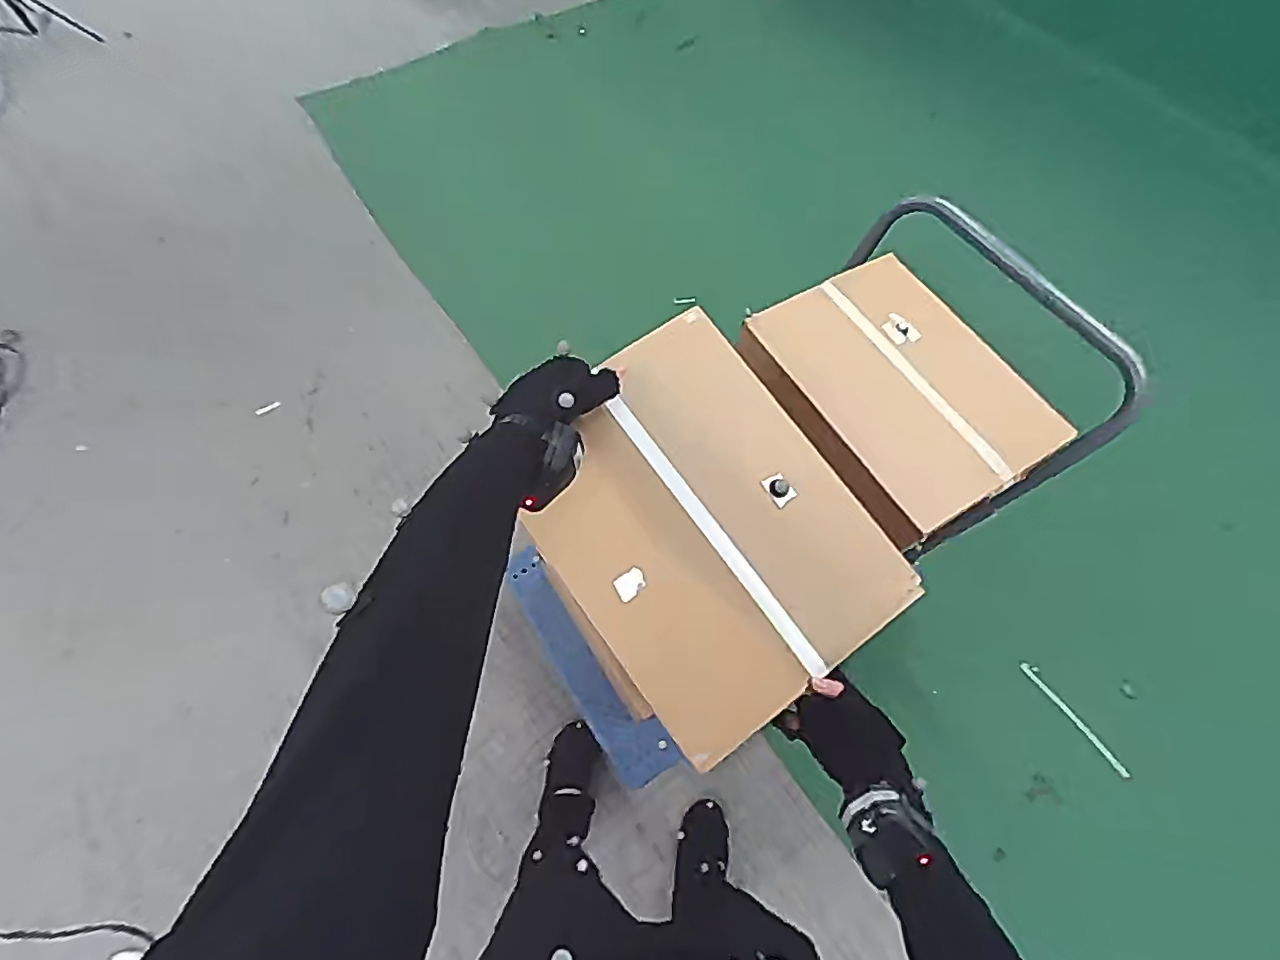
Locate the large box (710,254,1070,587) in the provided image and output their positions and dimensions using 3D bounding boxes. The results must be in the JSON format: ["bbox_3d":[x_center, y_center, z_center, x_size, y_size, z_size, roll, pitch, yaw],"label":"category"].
[{"bbox_3d":[0.371,-0.090,0.924,0.320,0.320,0.408,-27,68,-15],"label":"large box"}]
